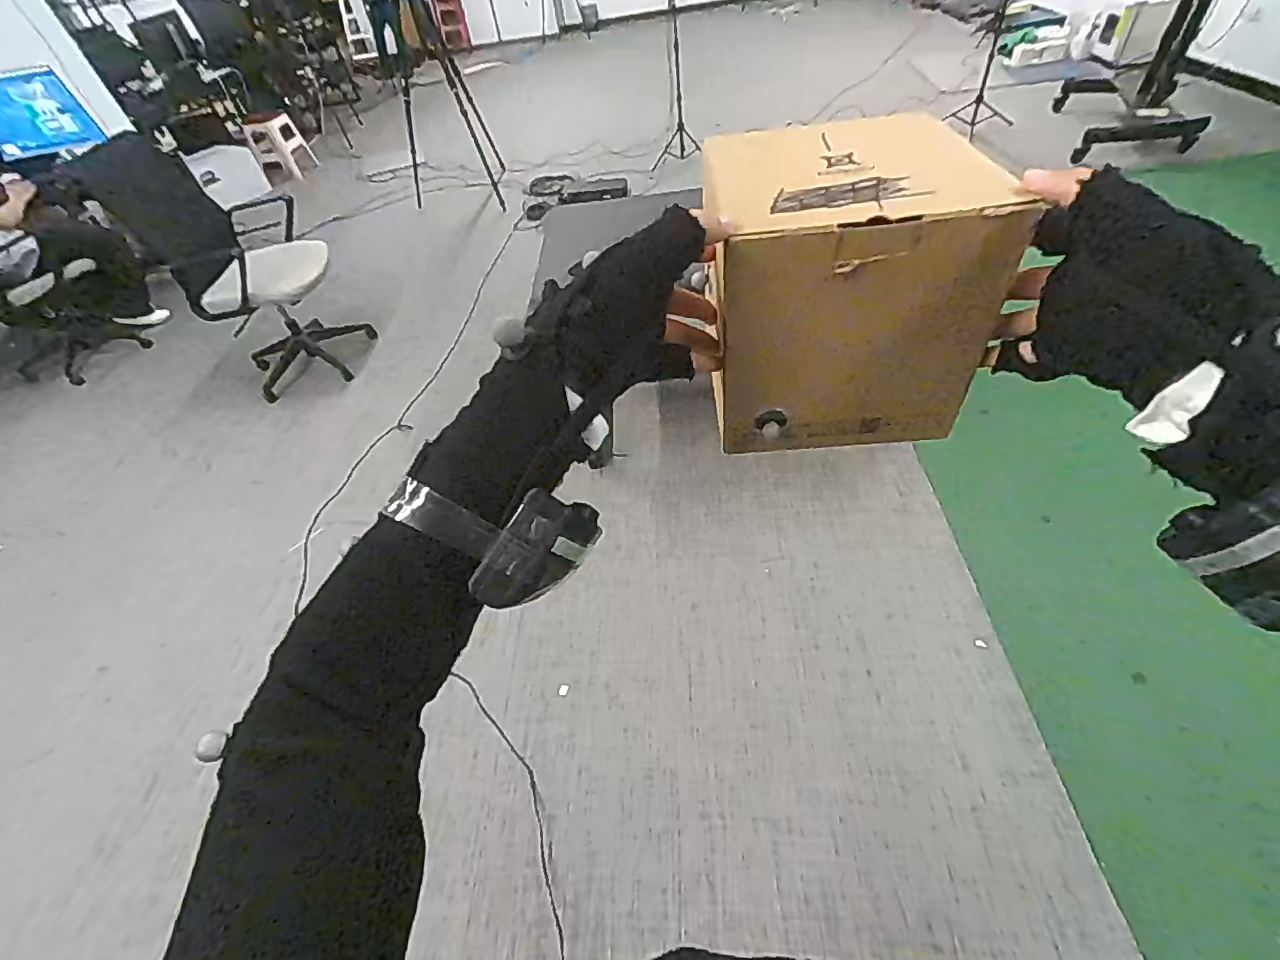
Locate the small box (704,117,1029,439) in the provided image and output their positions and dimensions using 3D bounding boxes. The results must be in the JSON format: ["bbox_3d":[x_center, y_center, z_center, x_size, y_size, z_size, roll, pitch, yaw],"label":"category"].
[{"bbox_3d":[0.137,-0.142,0.405,0.168,0.176,0.179,-3,46,5],"label":"small box"}]
